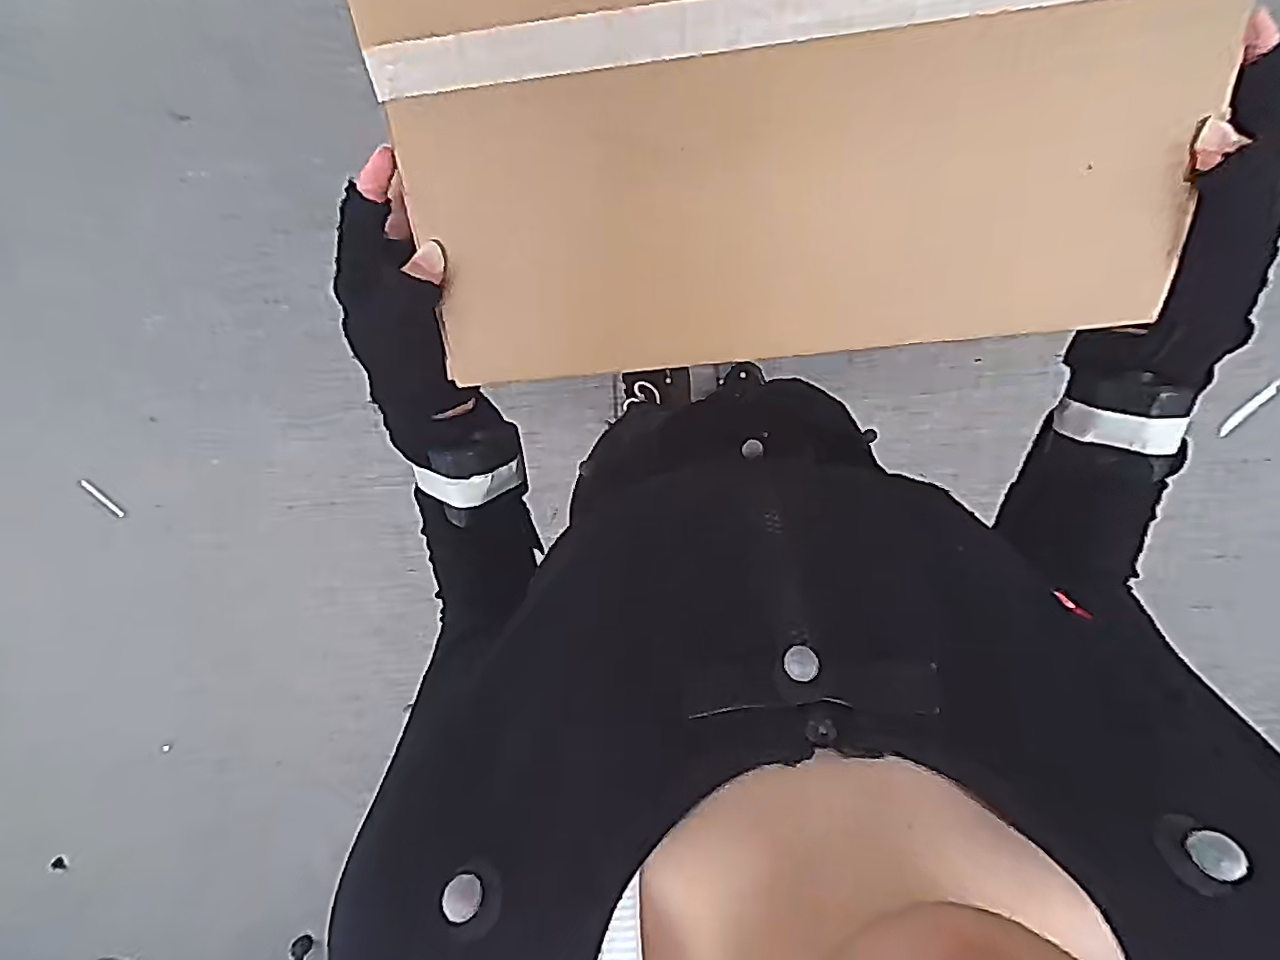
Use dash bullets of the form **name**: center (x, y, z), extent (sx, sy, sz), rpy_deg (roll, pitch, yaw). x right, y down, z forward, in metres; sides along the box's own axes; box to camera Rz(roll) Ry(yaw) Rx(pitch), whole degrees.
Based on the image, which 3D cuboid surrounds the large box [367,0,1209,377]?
- **large box**: center (0.070, -0.283, 0.398), extent (0.408, 0.320, 0.320), rpy_deg (-5, 116, 4)
